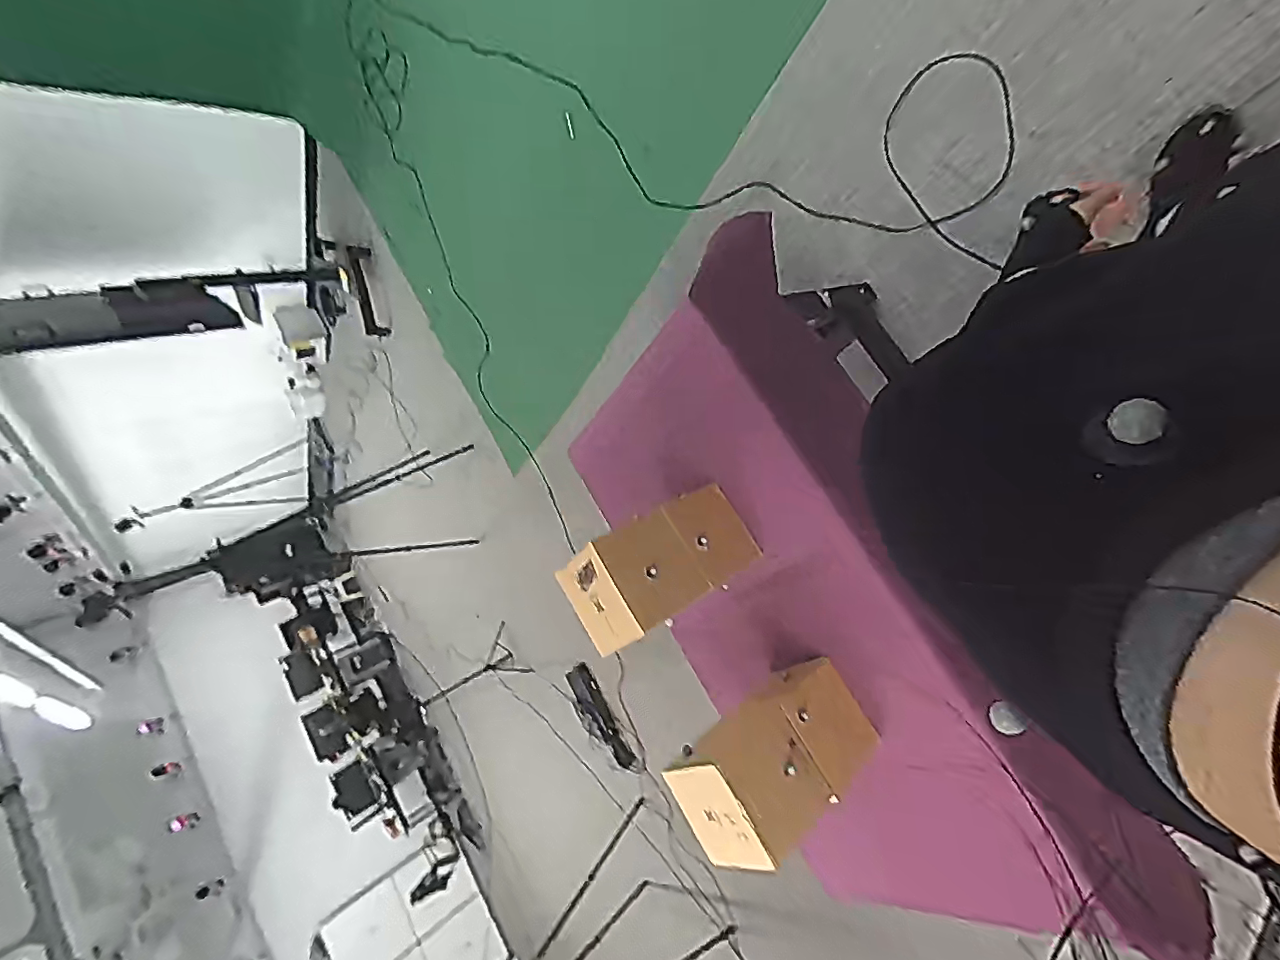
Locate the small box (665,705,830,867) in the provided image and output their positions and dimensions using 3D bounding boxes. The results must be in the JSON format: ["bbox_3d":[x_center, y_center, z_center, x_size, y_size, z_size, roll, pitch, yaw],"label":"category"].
[{"bbox_3d":[0.181,0.508,0.913,0.168,0.176,0.179,58,141,13],"label":"small box"}]

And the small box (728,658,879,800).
[{"bbox_3d":[0.307,0.464,1.011,0.179,0.176,0.168,59,141,13],"label":"small box"}]

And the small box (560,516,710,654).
[{"bbox_3d":[-0.009,0.182,0.981,0.179,0.176,0.168,58,140,11],"label":"small box"}]

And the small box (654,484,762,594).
[{"bbox_3d":[0.110,0.133,1.083,0.179,0.176,0.168,60,140,12],"label":"small box"}]
